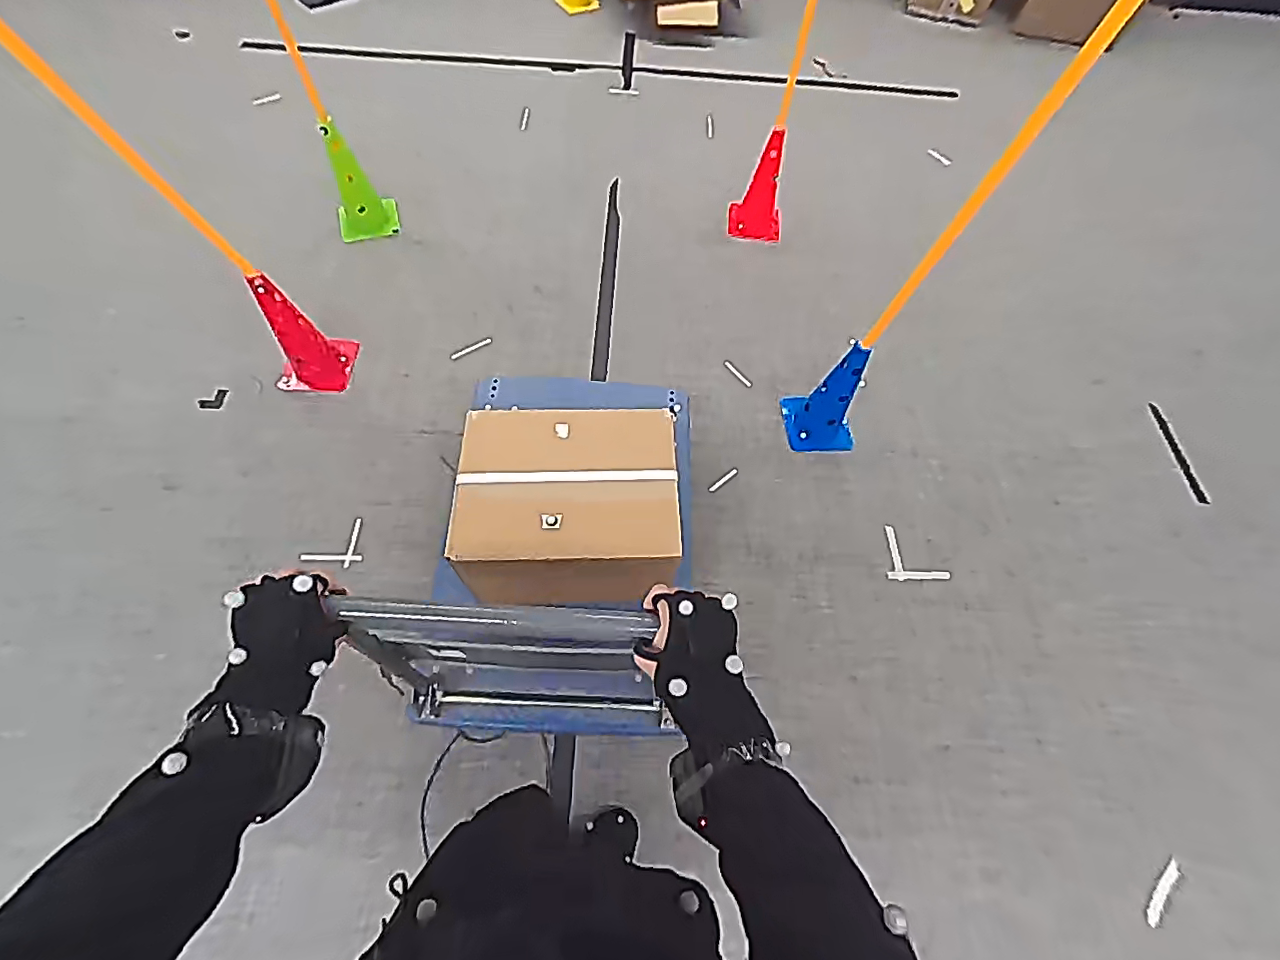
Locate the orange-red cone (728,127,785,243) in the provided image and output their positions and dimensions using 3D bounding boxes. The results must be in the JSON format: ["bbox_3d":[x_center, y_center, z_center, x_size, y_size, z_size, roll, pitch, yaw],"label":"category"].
[{"bbox_3d":[0.453,-1.072,1.935,0.199,0.360,0.198,9,63,0],"label":"orange-red cone"}]

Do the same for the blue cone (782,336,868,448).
[{"bbox_3d":[0.558,-0.259,1.538,0.193,0.380,0.192,-1,62,-4],"label":"blue cone"}]
